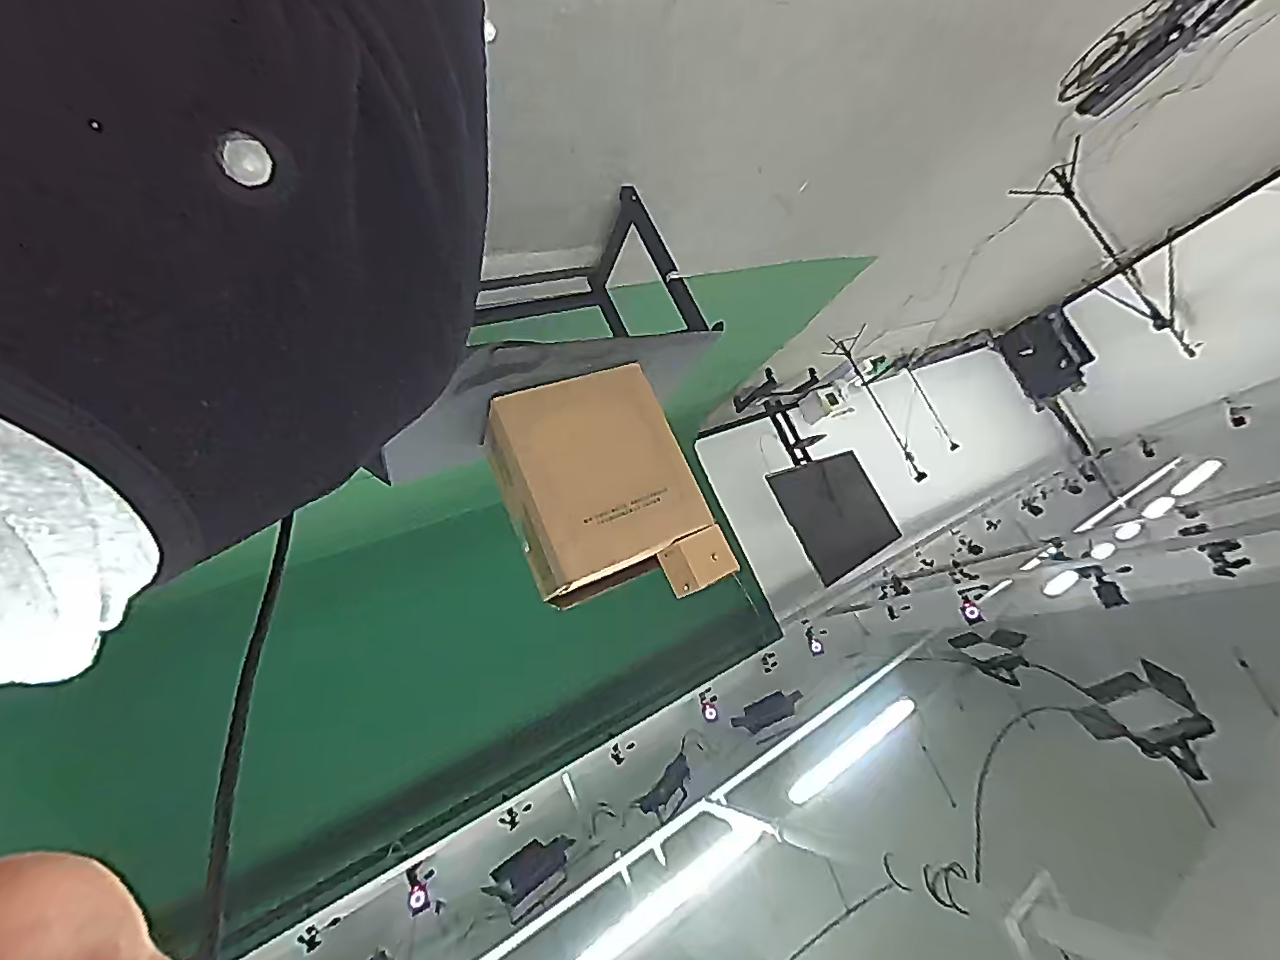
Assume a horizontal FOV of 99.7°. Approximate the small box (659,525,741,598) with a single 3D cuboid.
[{"bbox_3d":[0.197,0.270,1.806,0.179,0.176,0.168,-21,167,-30],"label":"small box"}]
